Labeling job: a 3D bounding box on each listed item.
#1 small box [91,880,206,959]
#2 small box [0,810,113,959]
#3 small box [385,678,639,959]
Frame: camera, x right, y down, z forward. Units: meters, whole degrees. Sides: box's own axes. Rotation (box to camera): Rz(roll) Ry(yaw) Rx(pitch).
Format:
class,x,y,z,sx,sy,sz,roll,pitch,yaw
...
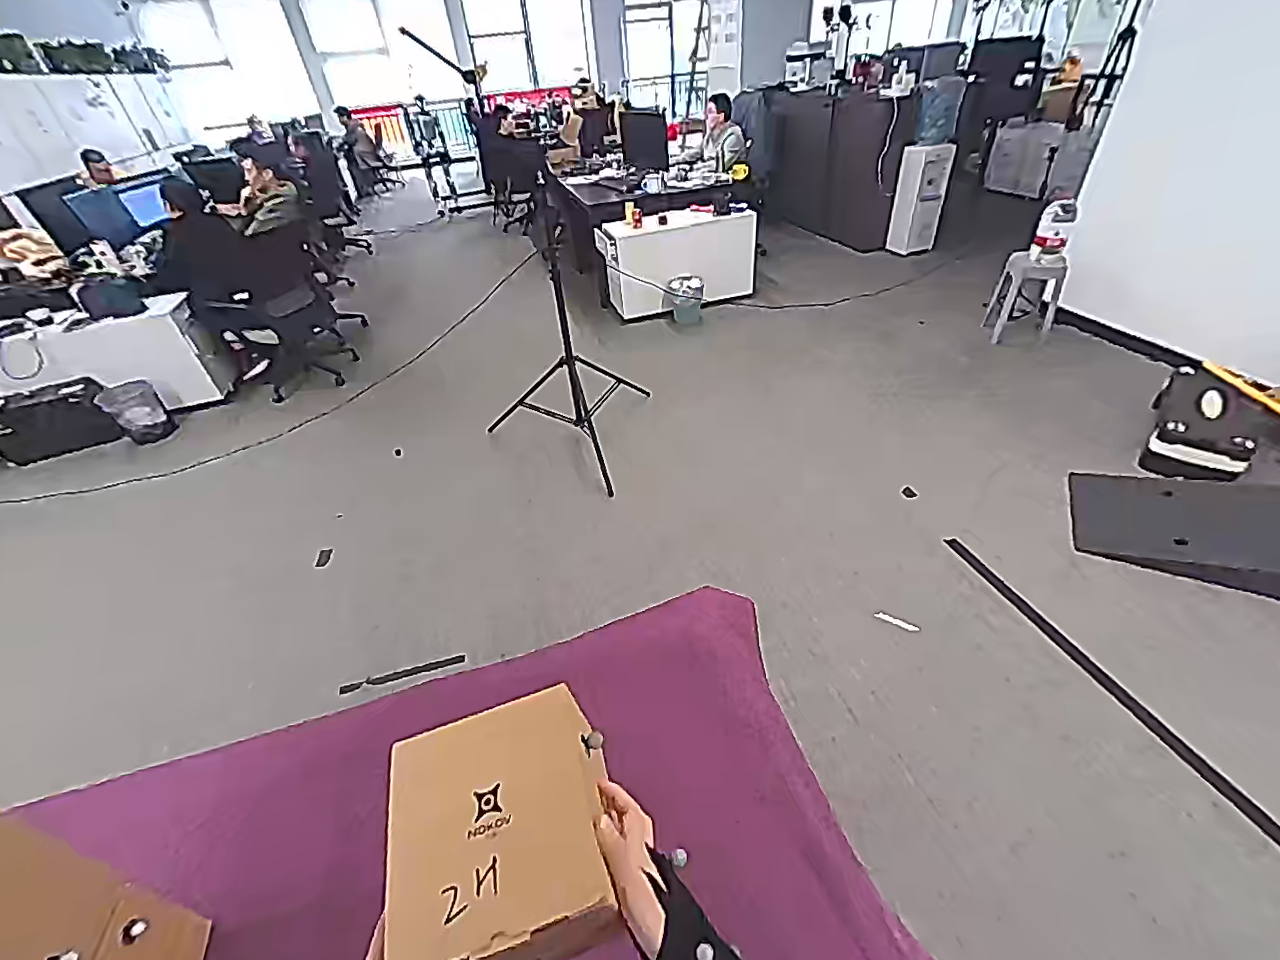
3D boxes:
class,x,y,z,sx,sy,sz,roll,pitch,yaw
small box,-0.595,0.557,0.549,0.168,0.176,0.179,-14,38,-9
small box,-0.611,0.425,0.452,0.168,0.176,0.179,-14,38,-10
small box,-0.109,0.320,0.496,0.168,0.176,0.179,-18,45,-5
